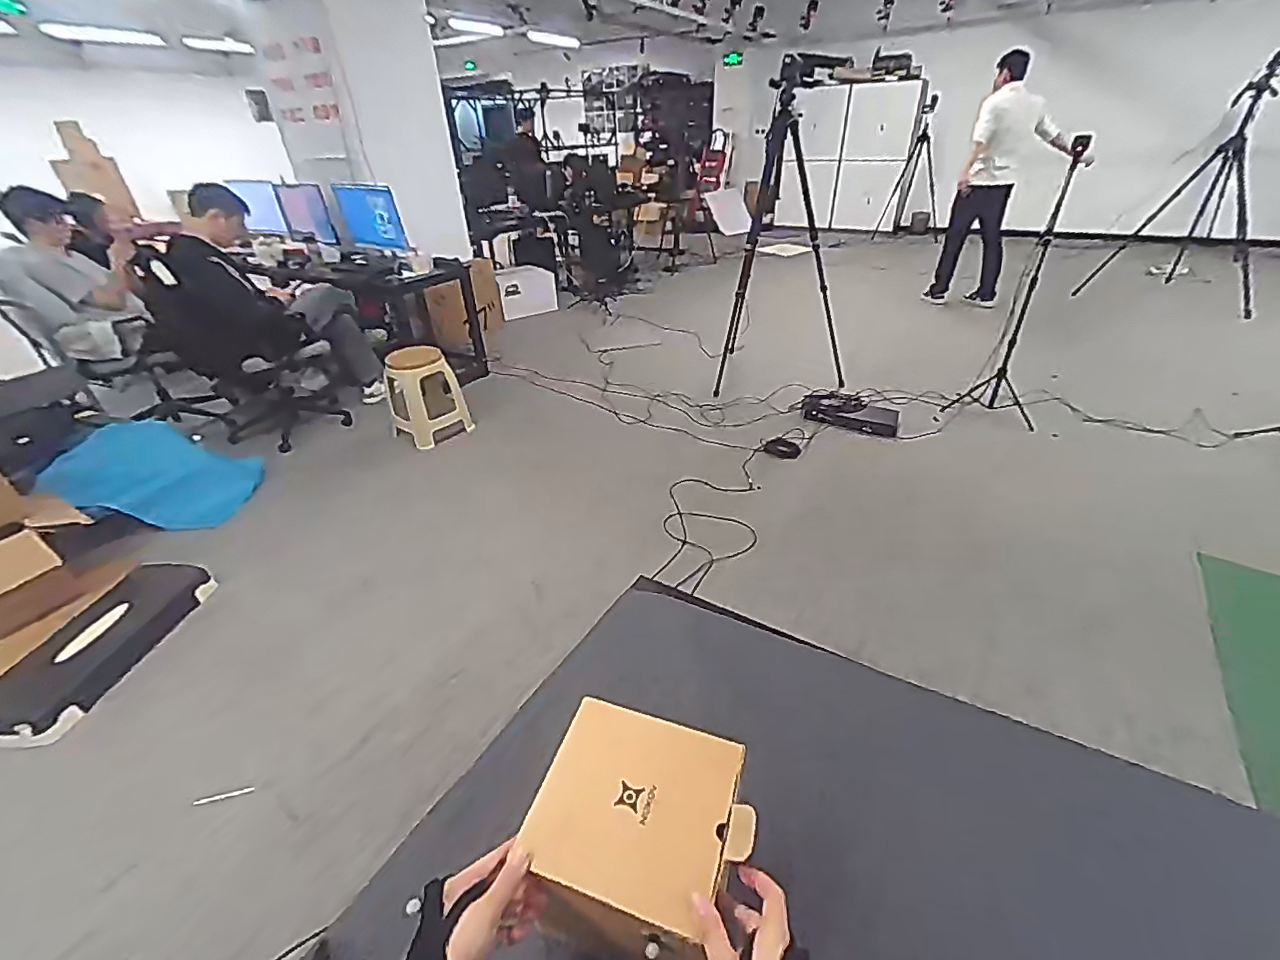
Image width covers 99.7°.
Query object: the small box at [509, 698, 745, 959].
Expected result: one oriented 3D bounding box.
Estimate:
[{"bbox_3d":[-0.002,0.355,0.536,0.179,0.176,0.168,10,36,17],"label":"small box"}]
